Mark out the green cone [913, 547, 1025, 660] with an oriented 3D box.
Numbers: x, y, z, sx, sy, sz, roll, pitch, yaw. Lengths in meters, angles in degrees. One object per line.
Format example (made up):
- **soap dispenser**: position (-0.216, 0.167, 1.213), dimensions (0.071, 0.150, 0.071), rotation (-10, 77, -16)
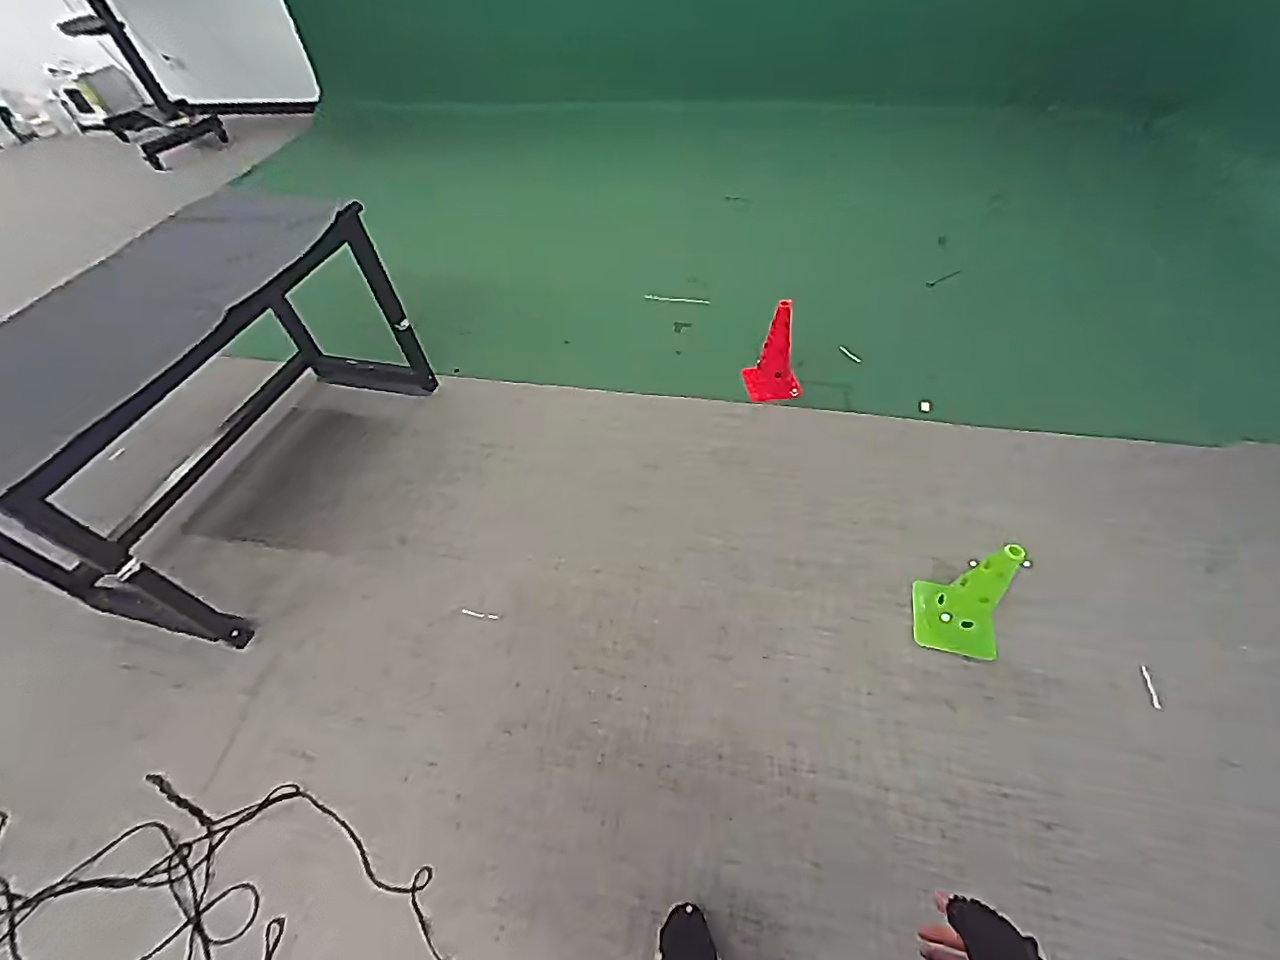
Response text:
- **green cone**: position (0.845, 0.272, 1.346), dimensions (0.200, 0.368, 0.202), rotation (9, 52, 12)
